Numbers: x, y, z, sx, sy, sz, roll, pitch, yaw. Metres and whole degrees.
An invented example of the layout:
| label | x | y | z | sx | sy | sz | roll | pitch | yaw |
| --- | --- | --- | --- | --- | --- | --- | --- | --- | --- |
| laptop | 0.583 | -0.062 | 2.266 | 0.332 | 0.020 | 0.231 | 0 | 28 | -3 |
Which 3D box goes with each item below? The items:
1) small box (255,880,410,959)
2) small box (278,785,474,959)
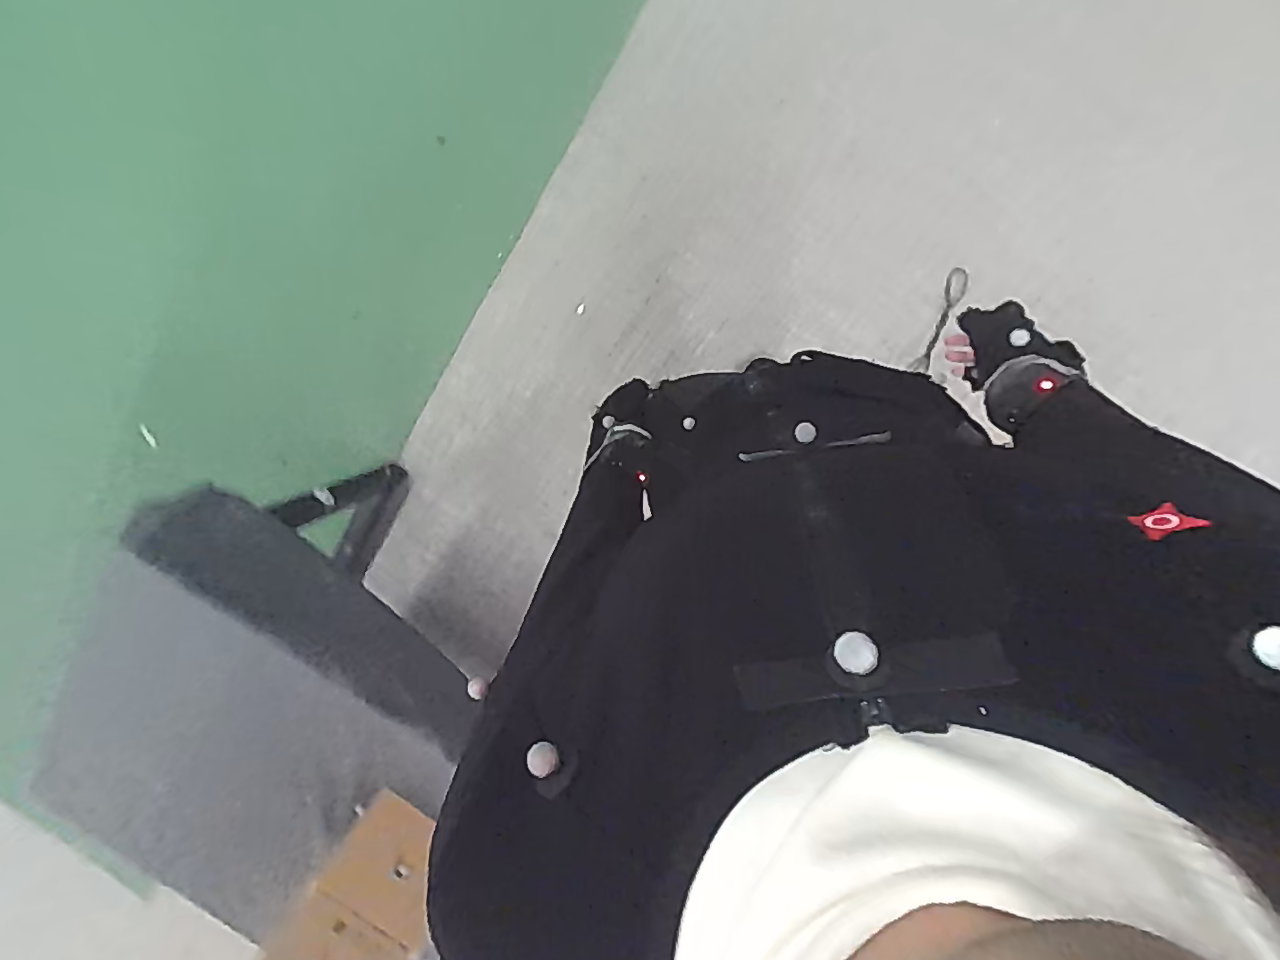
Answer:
| label | x | y | z | sx | sy | sz | roll | pitch | yaw |
| --- | --- | --- | --- | --- | --- | --- | --- | --- | --- |
| small box | -0.422 | 0.660 | 0.677 | 0.168 | 0.176 | 0.179 | 35 | 106 | -2 |
| small box | -0.394 | 0.612 | 0.831 | 0.179 | 0.176 | 0.168 | 36 | 107 | -3 |
